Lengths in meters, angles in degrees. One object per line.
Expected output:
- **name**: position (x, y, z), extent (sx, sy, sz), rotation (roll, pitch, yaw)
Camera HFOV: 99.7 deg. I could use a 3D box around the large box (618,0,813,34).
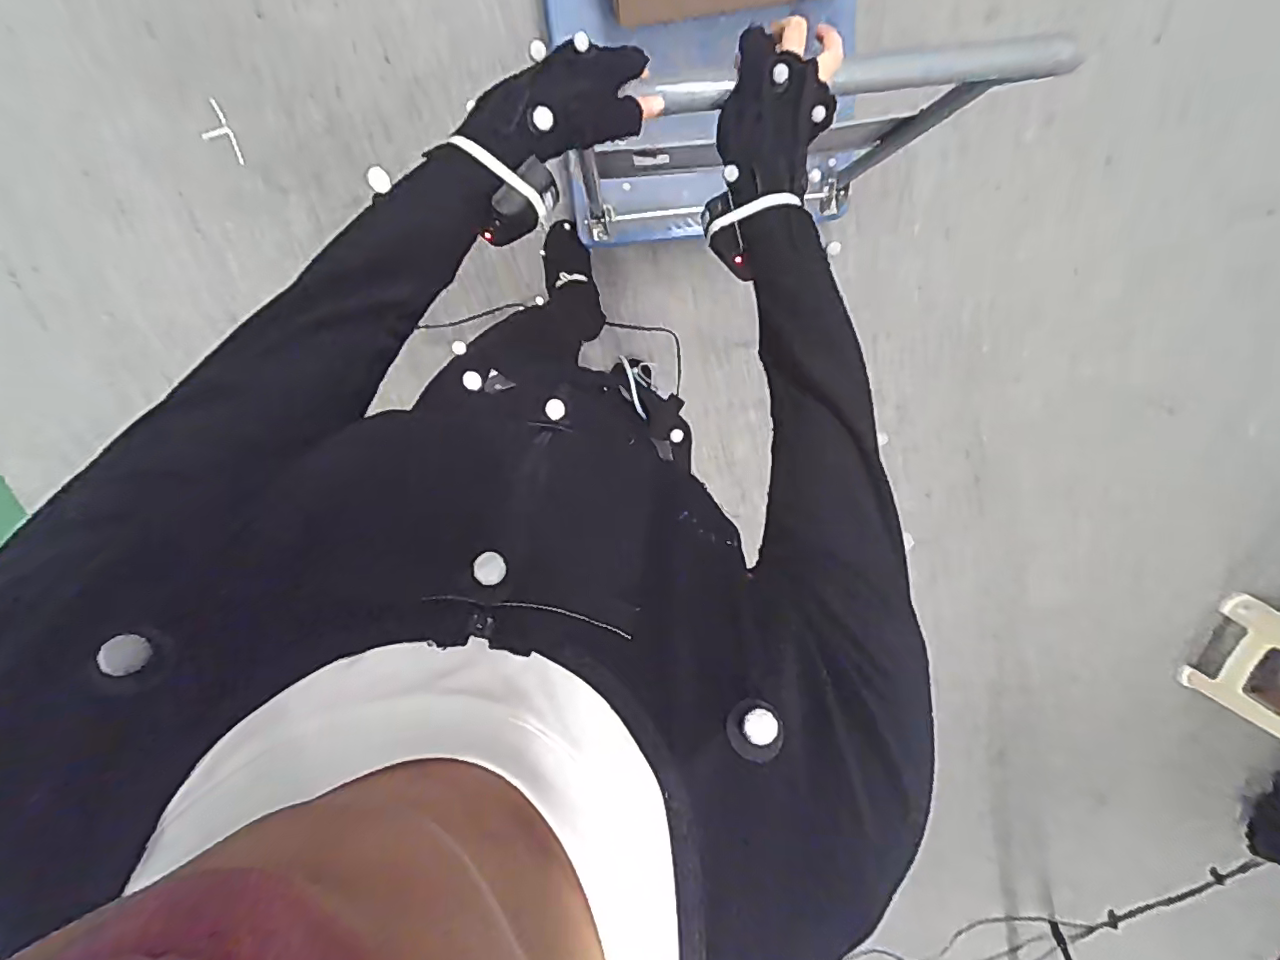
- **large box**: position (0.147, -0.964, 0.833), extent (0.408, 0.320, 0.320), rotation (-8, 109, 2)
